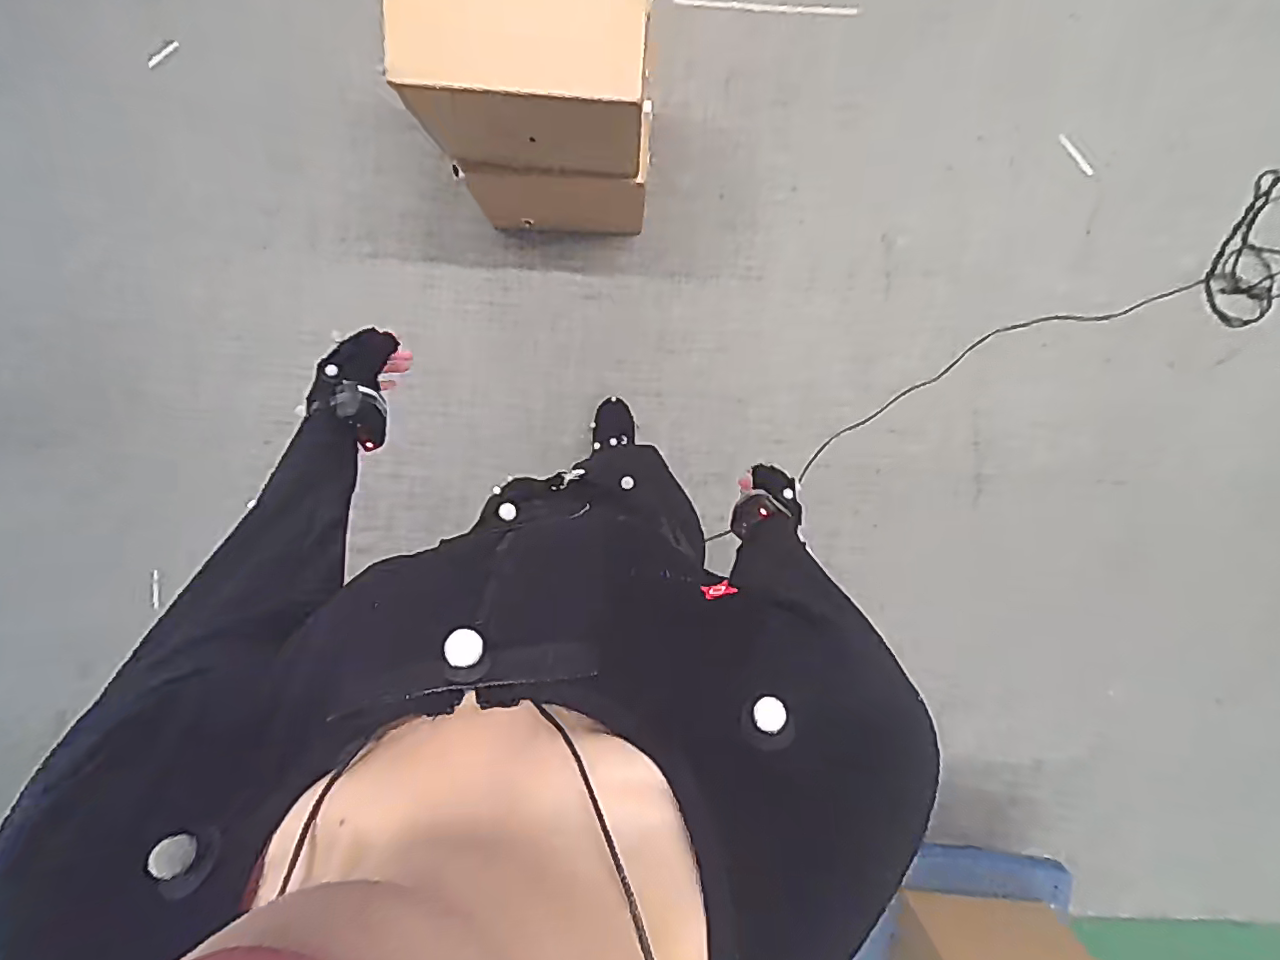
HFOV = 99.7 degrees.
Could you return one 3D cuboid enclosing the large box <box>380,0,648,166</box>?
[{"bbox_3d":[-0.189,-0.782,0.955,0.408,0.320,0.320,4,100,-1],"label":"large box"}]
